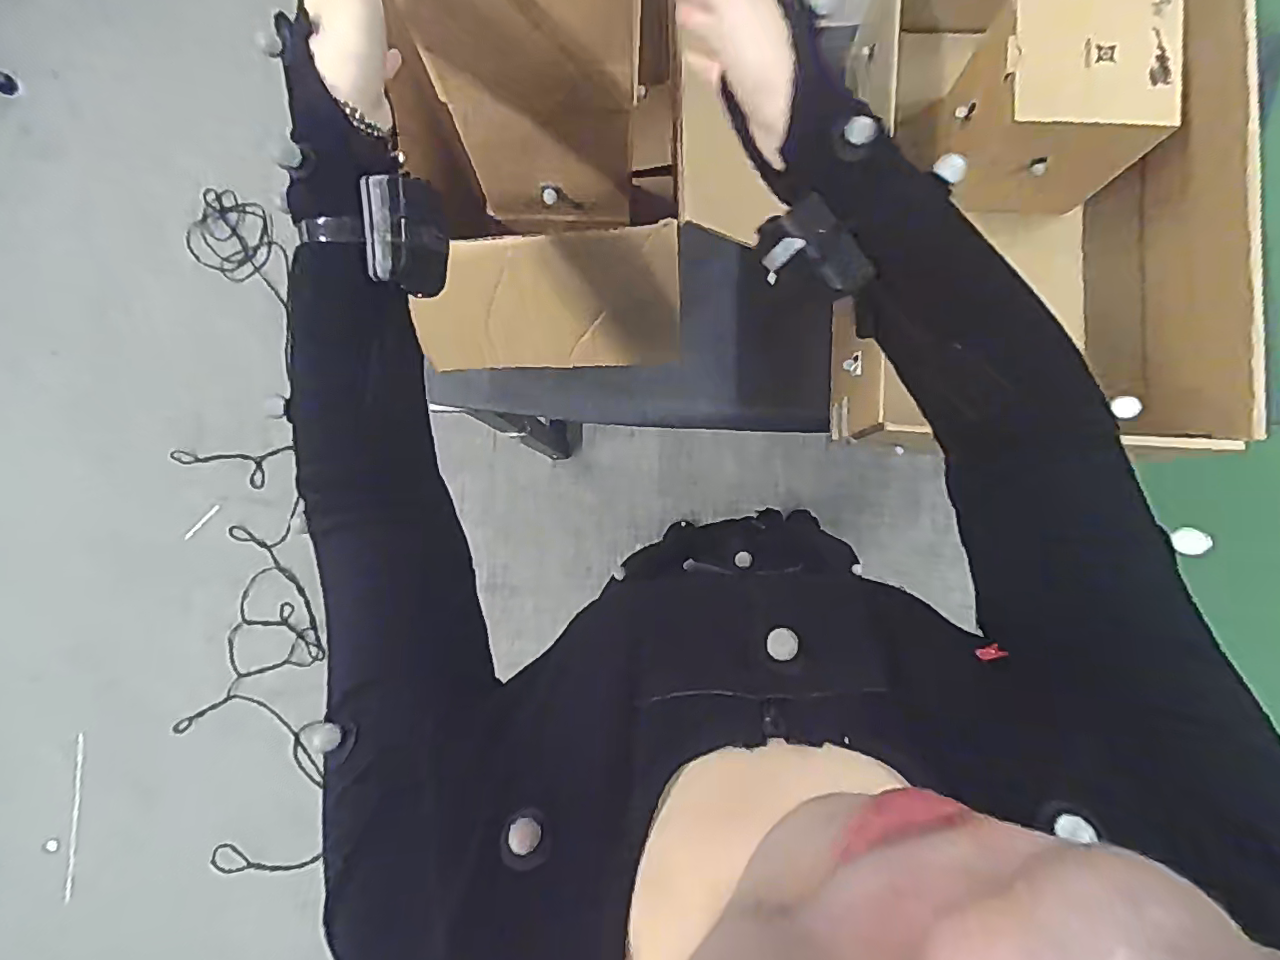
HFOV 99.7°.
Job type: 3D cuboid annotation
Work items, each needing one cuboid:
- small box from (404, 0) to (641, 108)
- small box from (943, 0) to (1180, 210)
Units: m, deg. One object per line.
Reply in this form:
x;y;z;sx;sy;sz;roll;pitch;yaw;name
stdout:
-0.088;-0.420;0.408;0.179;0.176;0.168;2;83;-1;small box
0.500;-0.458;0.668;0.179;0.176;0.168;4;87;6;small box
